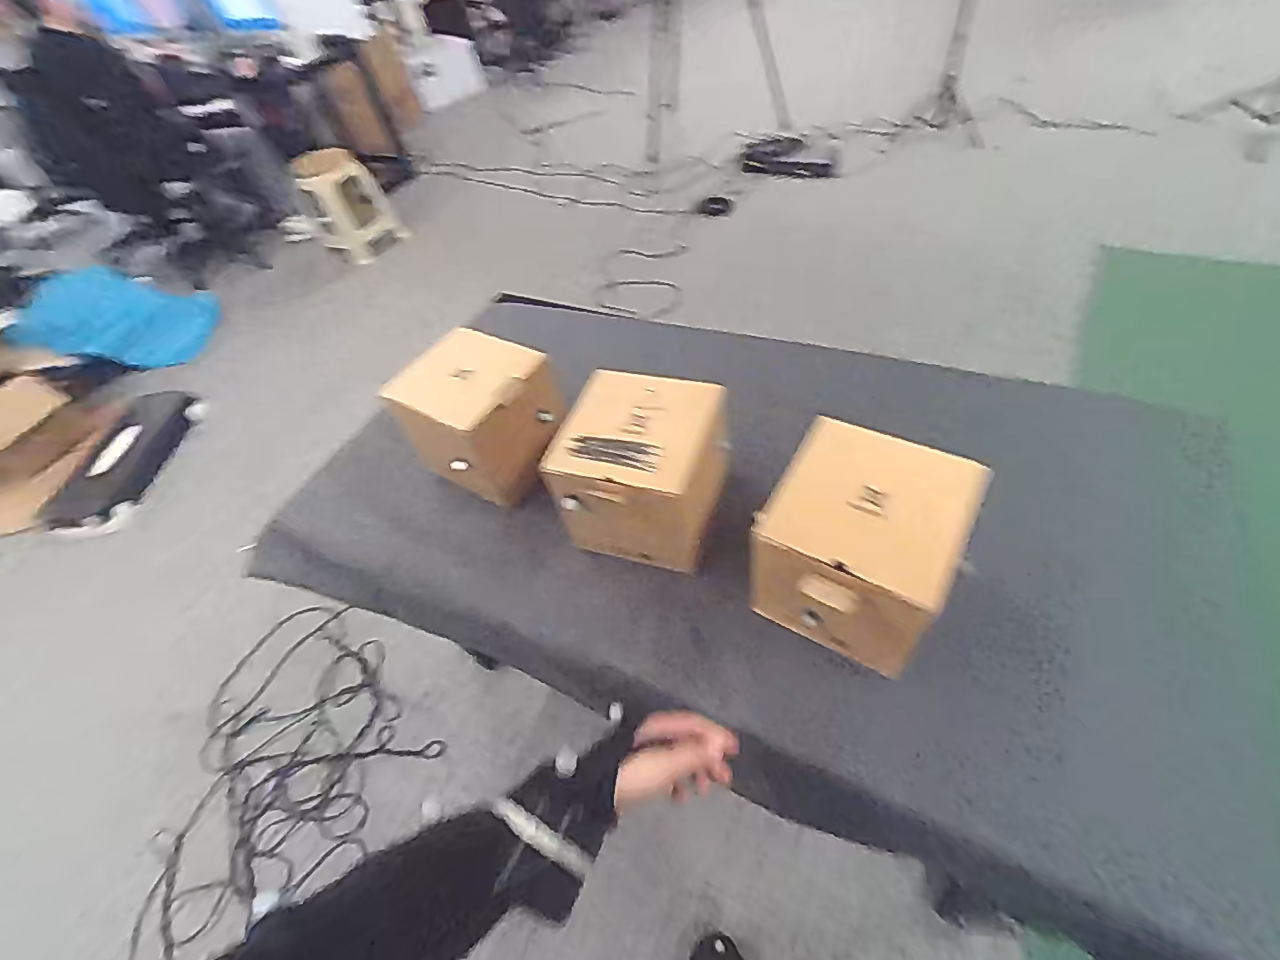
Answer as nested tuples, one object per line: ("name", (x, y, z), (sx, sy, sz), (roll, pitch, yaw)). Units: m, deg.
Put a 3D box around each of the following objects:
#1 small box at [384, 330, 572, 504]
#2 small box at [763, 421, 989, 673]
("small box", (-0.225, -0.089, 0.801), (0.179, 0.176, 0.168), (21, 57, 26))
("small box", (0.239, 0.072, 0.583), (0.168, 0.176, 0.179), (23, 59, 26))
